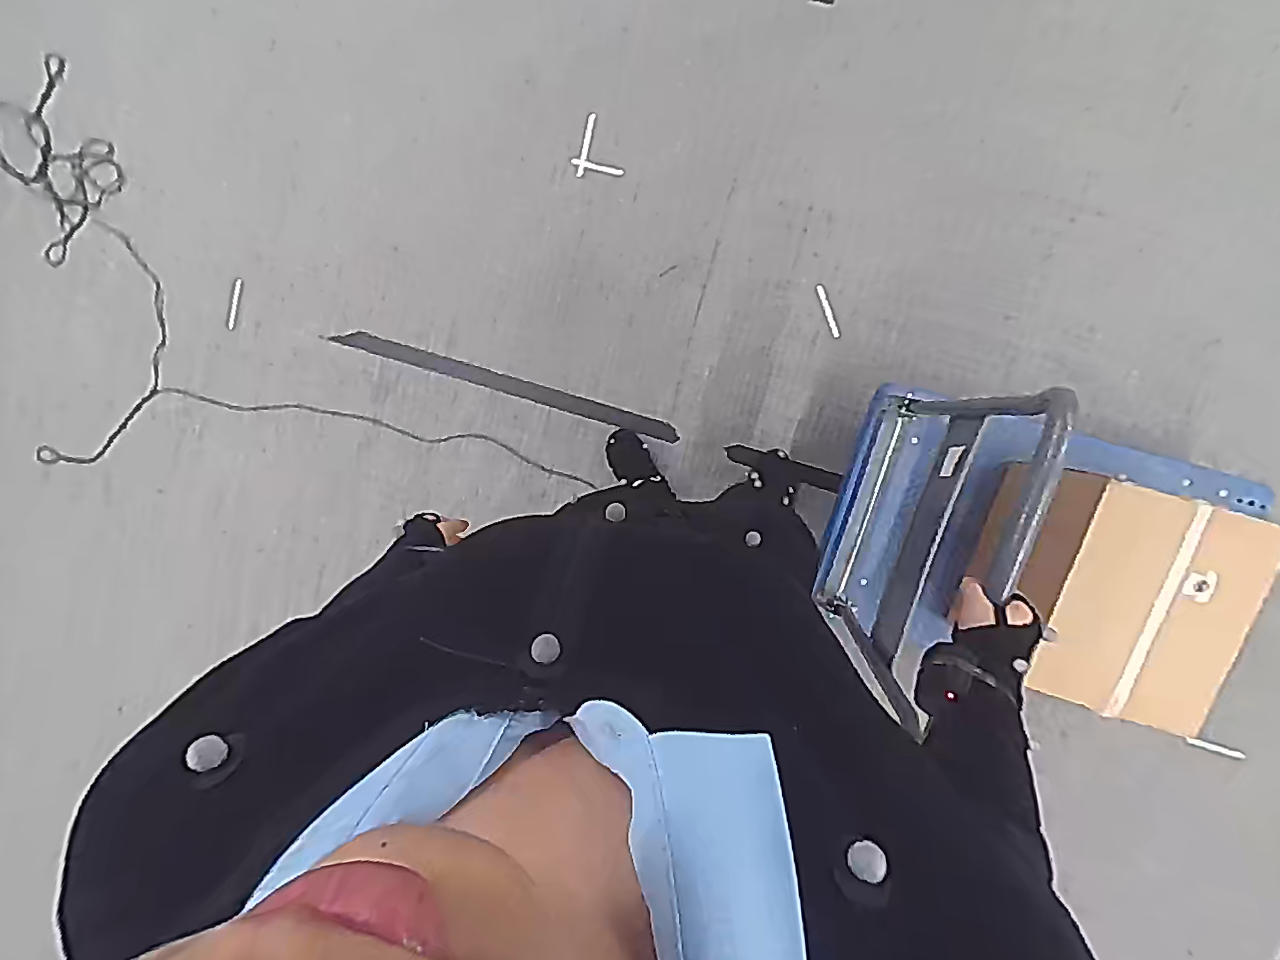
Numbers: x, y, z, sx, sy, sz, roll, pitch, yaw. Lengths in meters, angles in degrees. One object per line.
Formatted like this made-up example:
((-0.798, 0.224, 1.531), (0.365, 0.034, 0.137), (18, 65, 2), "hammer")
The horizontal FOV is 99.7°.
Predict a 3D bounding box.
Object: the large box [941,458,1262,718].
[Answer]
((0.899, 0.194, 1.119), (0.320, 0.320, 0.408), (17, 97, 3), "large box")
